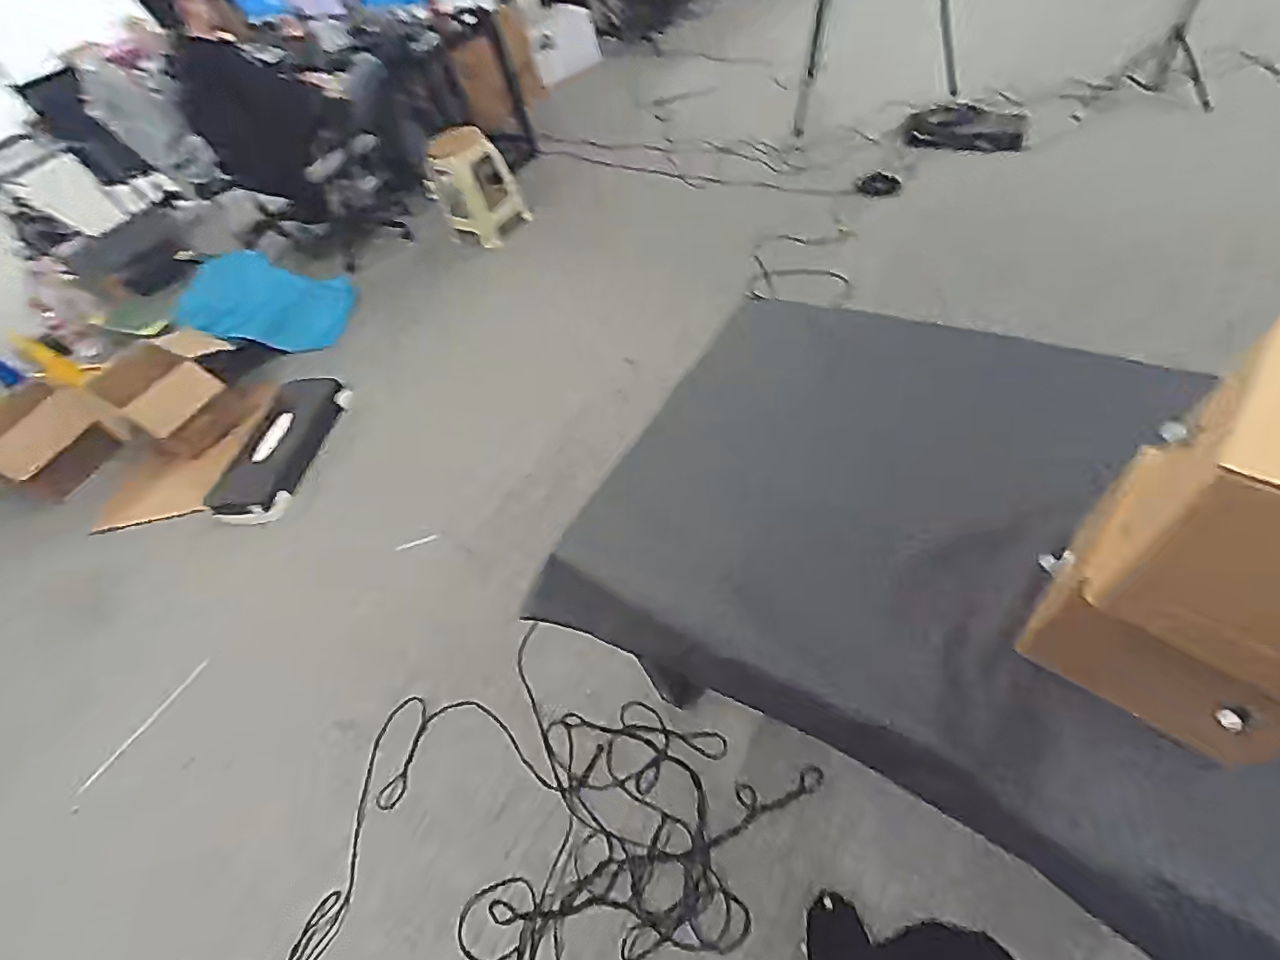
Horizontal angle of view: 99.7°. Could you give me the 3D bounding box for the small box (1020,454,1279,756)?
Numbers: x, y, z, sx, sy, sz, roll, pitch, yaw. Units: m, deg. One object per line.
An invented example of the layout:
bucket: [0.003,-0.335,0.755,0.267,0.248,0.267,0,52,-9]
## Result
small box: [0.487,0.115,0.479,0.179,0.176,0.168,30,64,32]

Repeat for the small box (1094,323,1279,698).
small box: [0.446,0.032,0.343,0.179,0.176,0.168,33,65,31]
